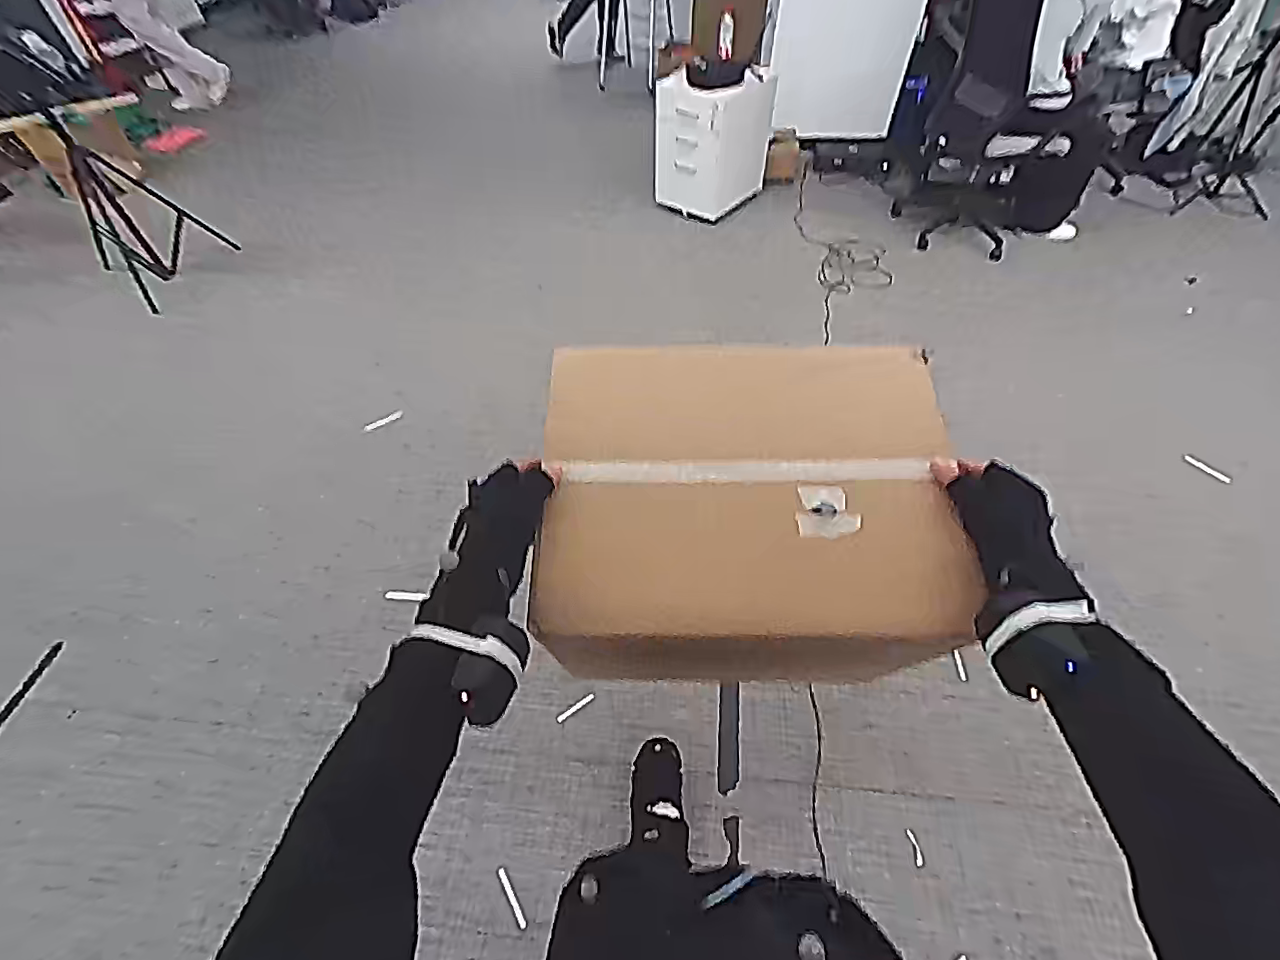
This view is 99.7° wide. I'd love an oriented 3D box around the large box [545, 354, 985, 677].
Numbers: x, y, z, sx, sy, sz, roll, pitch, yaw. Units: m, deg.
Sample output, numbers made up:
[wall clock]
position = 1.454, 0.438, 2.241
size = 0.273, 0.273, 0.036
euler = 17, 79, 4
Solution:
[large box]
position = 0.109, 0.062, 0.680
size = 0.408, 0.320, 0.320
euler = 0, 63, 0
